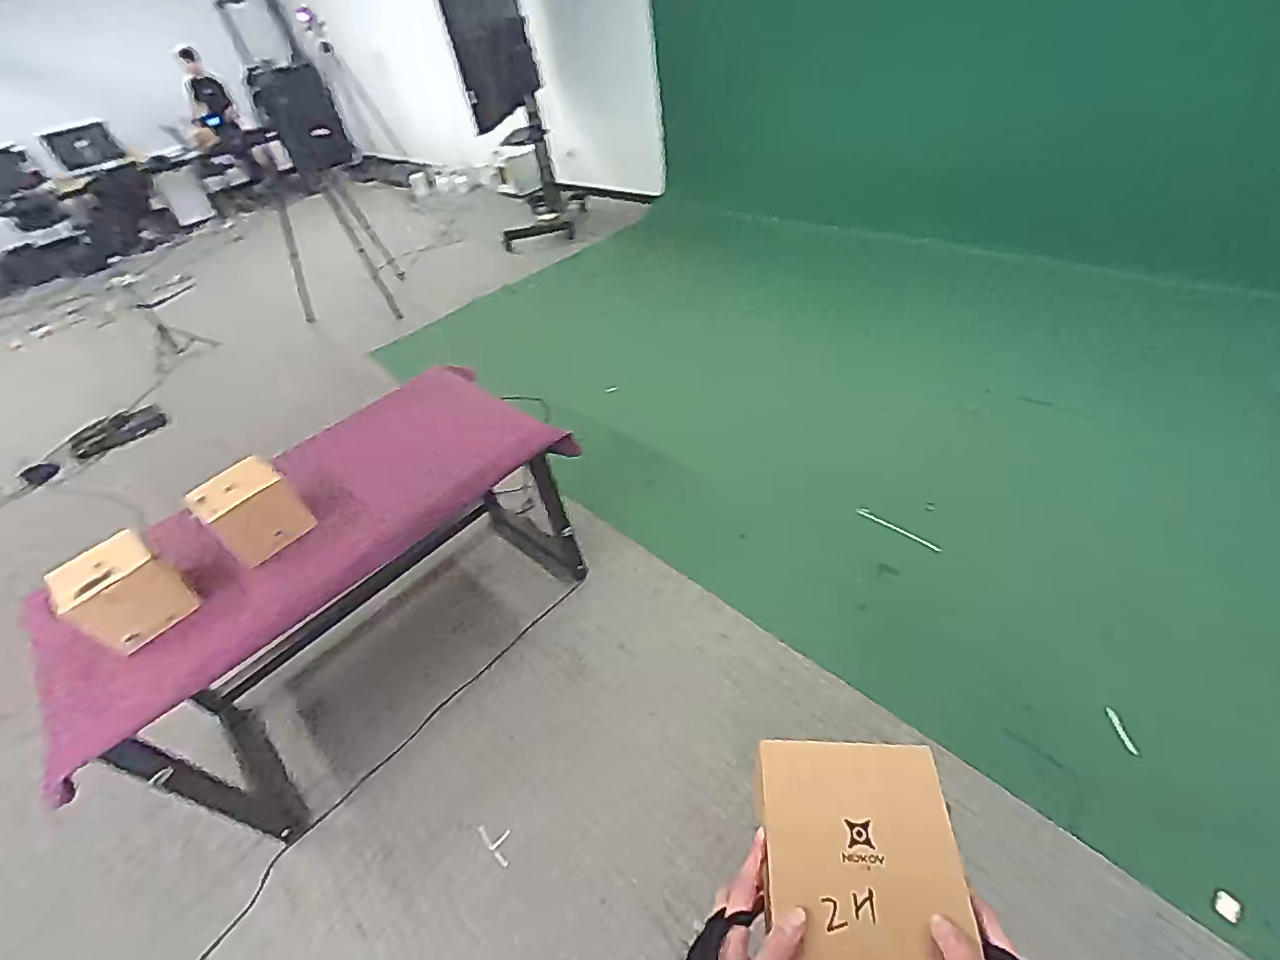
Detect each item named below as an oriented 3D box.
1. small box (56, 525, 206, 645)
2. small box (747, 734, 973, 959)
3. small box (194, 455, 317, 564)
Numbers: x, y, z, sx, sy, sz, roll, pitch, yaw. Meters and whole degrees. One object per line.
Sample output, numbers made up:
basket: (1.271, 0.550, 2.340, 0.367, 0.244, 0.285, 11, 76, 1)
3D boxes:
small box: (-1.123, 0.239, 1.204, 0.179, 0.176, 0.168, 26, 54, 34)
small box: (0.196, 0.377, 0.545, 0.168, 0.176, 0.179, -2, 49, 8)
small box: (-0.942, 0.073, 1.344, 0.168, 0.176, 0.179, 26, 54, 33)
